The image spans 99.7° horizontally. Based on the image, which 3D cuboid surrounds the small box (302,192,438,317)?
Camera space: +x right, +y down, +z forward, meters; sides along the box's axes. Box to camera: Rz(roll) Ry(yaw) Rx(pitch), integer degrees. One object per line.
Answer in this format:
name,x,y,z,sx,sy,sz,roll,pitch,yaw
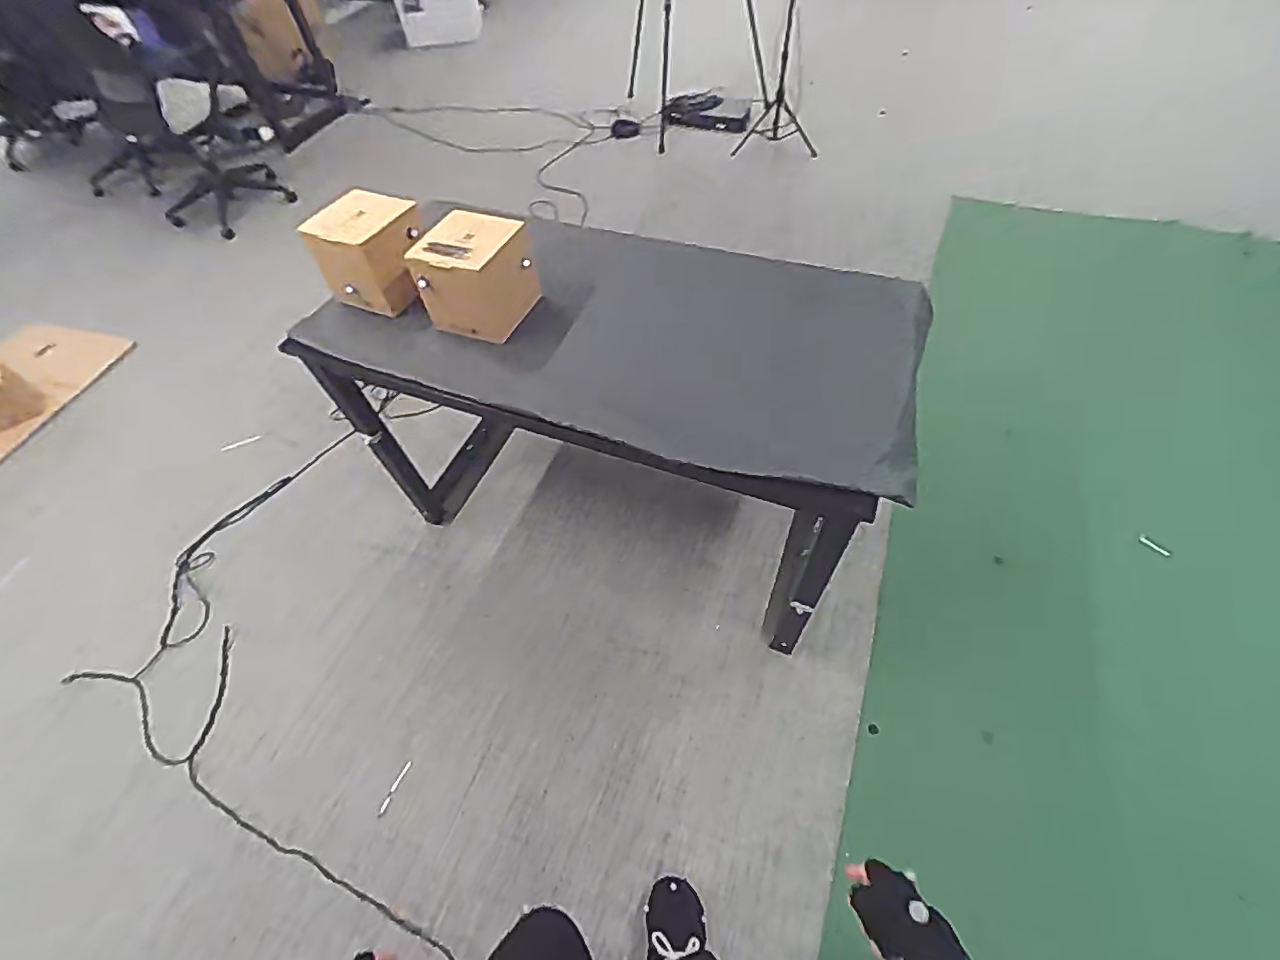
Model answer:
small box,-0.561,-0.481,1.158,0.168,0.176,0.179,19,57,17
